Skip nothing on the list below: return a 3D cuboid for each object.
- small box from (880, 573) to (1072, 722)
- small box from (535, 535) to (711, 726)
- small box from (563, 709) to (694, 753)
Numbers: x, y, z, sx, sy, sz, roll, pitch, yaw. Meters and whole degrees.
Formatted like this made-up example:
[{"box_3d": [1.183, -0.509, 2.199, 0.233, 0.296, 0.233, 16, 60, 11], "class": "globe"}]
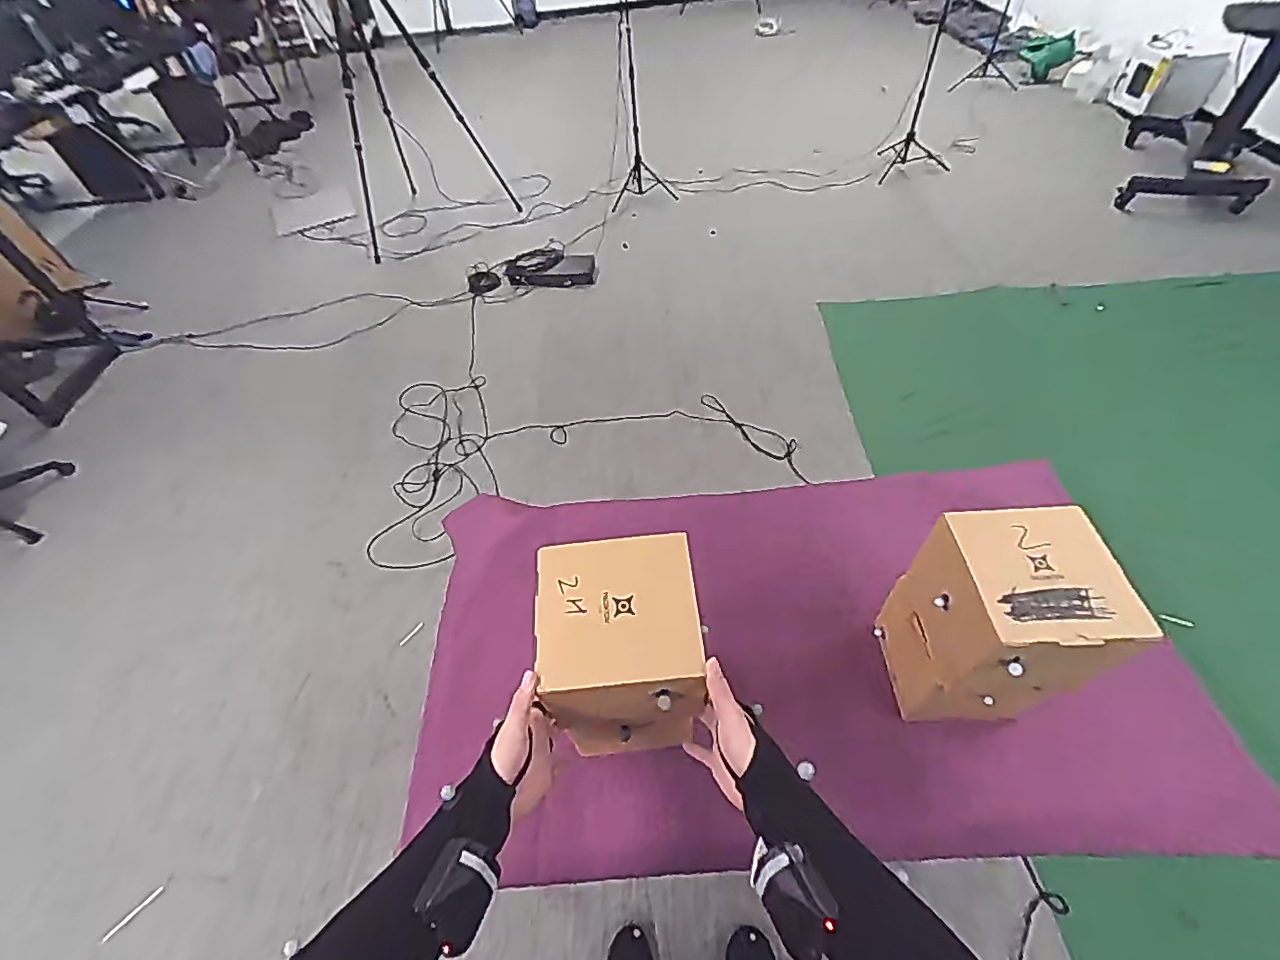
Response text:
[{"box_3d": [0.481, 0.255, 0.814, 0.179, 0.176, 0.168, -2, 51, 3], "class": "small box"}, {"box_3d": [-0.018, 0.182, 0.639, 0.179, 0.176, 0.168, -6, 54, 0], "class": "small box"}, {"box_3d": [-0.015, 0.304, 0.823, 0.179, 0.176, 0.168, -6, 51, 1], "class": "small box"}]
